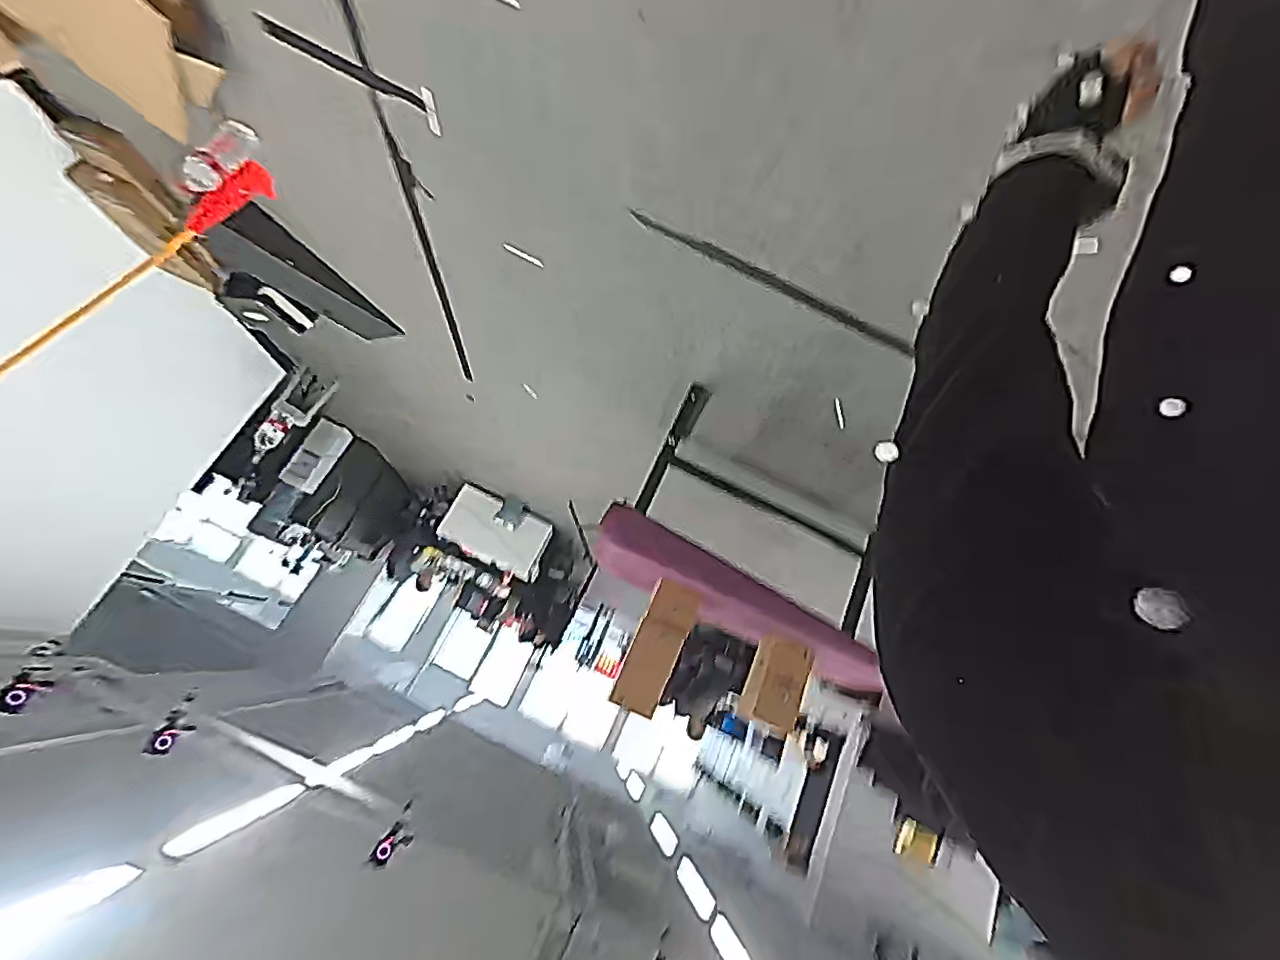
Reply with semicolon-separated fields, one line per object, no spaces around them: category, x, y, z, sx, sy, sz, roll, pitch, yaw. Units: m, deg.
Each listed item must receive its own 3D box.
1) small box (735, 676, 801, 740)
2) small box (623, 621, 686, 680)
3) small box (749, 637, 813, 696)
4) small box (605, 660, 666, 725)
small box;0.487;0.857;2.049;0.168;0.176;0.179;26;159;0
small box;0.053;0.644;2.057;0.179;0.176;0.168;25;161;5
small box;0.556;0.726;2.115;0.168;0.176;0.179;27;161;0
small box;-0.015;0.785;2.009;0.179;0.176;0.168;25;160;4
